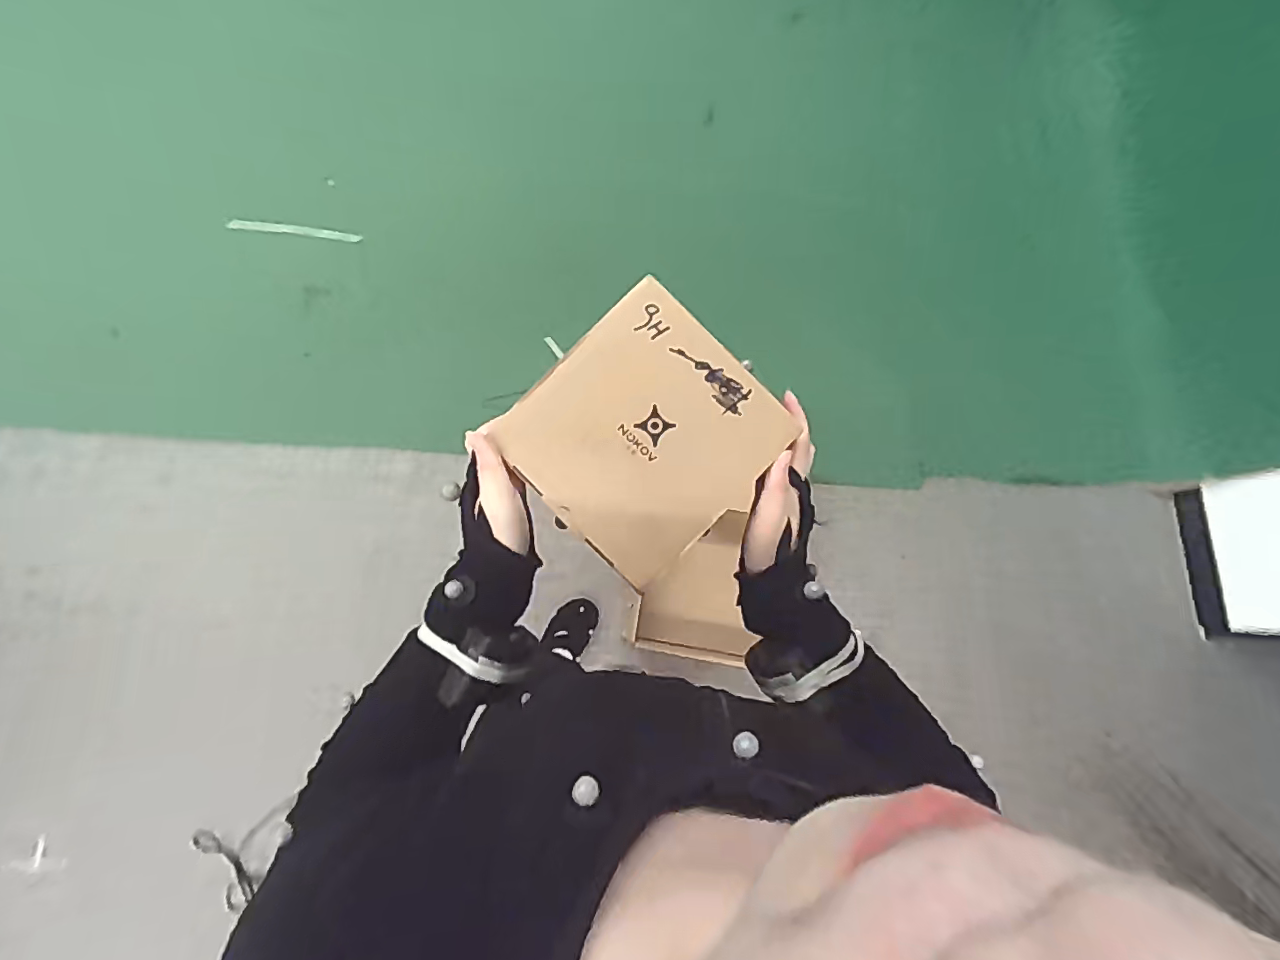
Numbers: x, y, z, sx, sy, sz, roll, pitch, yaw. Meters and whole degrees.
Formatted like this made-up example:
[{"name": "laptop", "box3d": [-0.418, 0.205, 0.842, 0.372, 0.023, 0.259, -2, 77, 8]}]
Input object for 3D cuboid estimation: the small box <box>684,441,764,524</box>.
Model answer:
[{"name": "small box", "box3d": [0.224, 0.013, 1.474, 0.168, 0.176, 0.179, 12, 77, -5]}]
